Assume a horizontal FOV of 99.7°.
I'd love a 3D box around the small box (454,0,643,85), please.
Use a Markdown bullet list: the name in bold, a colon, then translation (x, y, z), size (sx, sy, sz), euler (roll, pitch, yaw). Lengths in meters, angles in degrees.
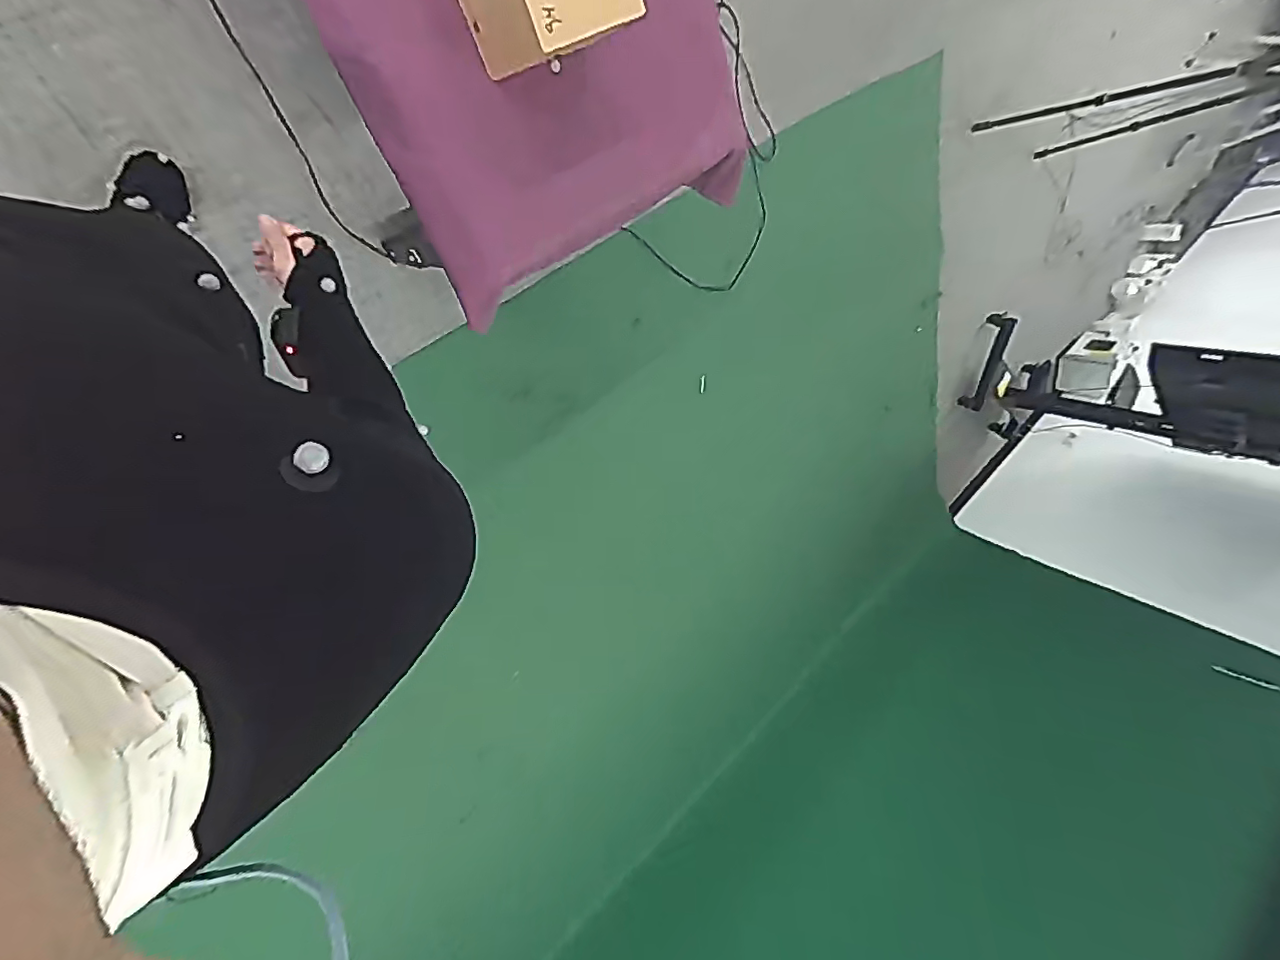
- **small box**: translation (-0.131, -0.651, 0.704), size (0.179, 0.176, 0.168), euler (-38, 128, -20)
